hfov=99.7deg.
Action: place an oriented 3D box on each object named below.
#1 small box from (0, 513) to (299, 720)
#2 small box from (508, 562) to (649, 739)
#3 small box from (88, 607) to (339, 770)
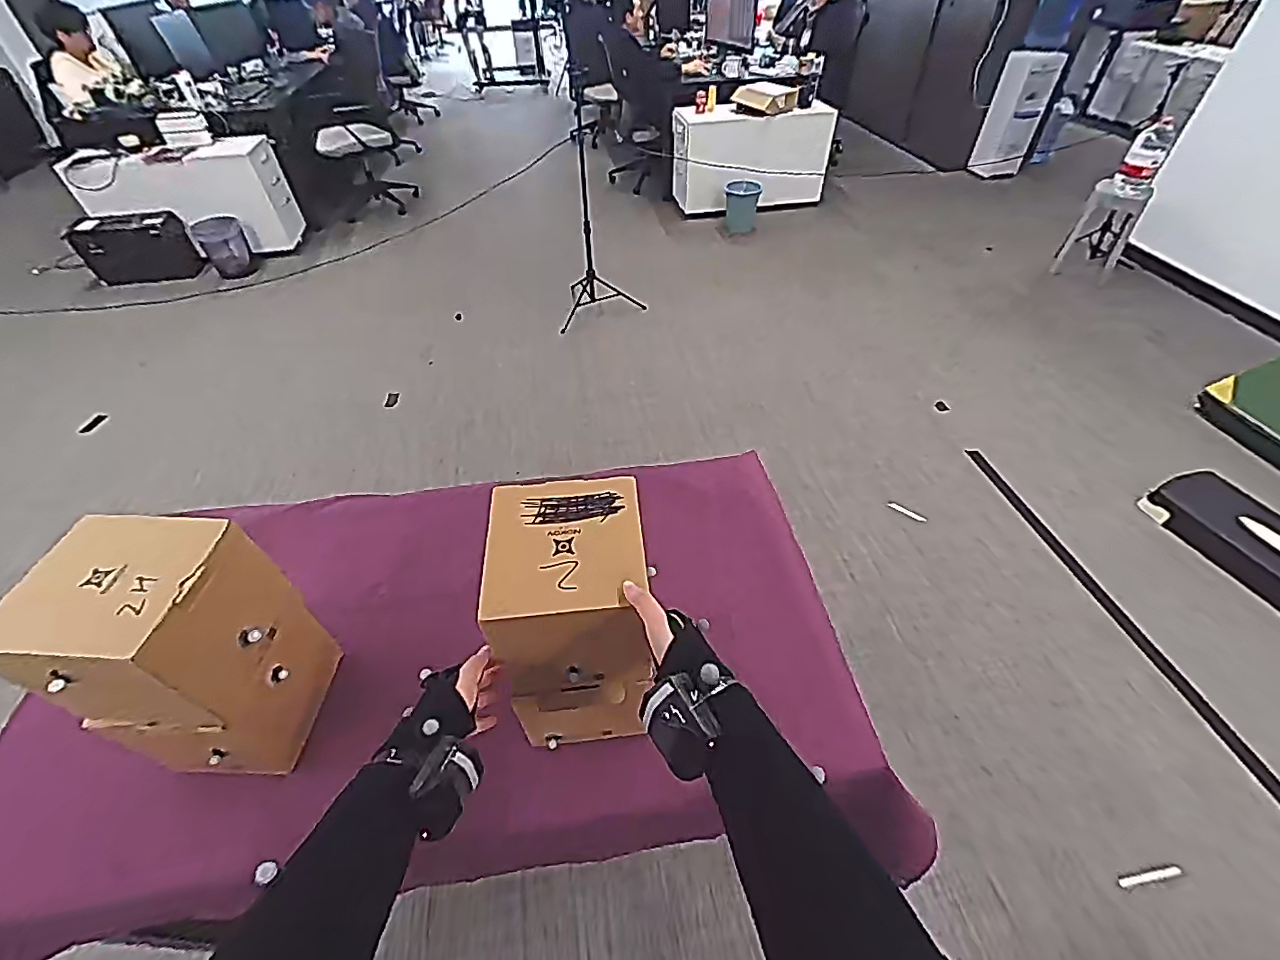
[{"bbox_3d":[-0.537,0.155,0.606,0.179,0.176,0.168,2,47,2],"label":"small box"},{"bbox_3d":[-0.077,0.237,0.741,0.168,0.176,0.179,-5,45,-3],"label":"small box"},{"bbox_3d":[-0.541,0.270,0.723,0.168,0.176,0.179,2,46,2],"label":"small box"}]
